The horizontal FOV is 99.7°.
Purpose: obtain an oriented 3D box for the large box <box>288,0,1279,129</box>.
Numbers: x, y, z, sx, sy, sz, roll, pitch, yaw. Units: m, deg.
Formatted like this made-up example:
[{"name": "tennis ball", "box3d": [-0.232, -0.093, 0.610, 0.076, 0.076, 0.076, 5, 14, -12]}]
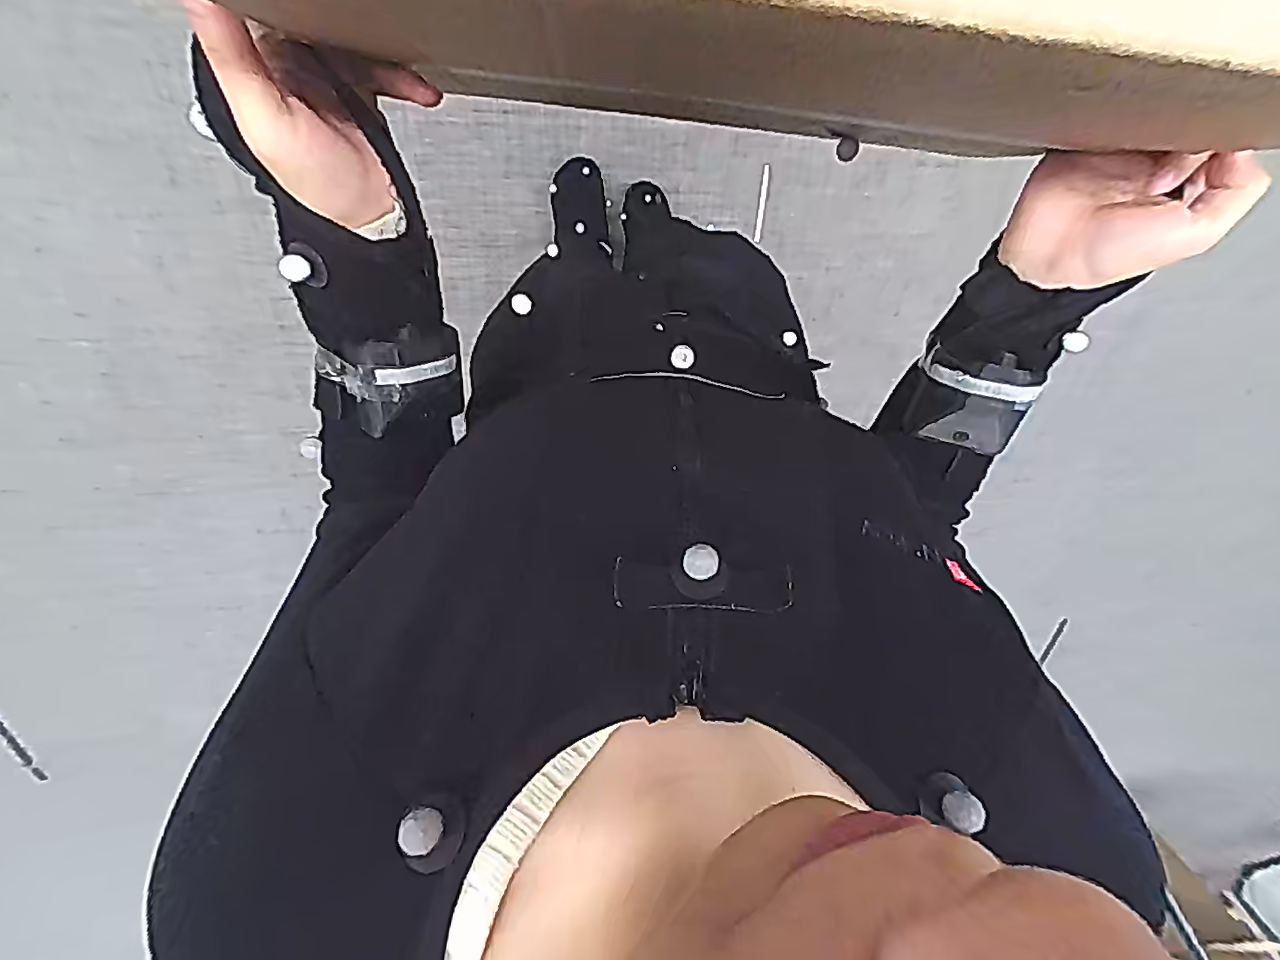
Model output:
[{"name": "large box", "box3d": [0.071, -0.324, 0.176, 0.408, 0.320, 0.320, 1, 121, -6]}]
